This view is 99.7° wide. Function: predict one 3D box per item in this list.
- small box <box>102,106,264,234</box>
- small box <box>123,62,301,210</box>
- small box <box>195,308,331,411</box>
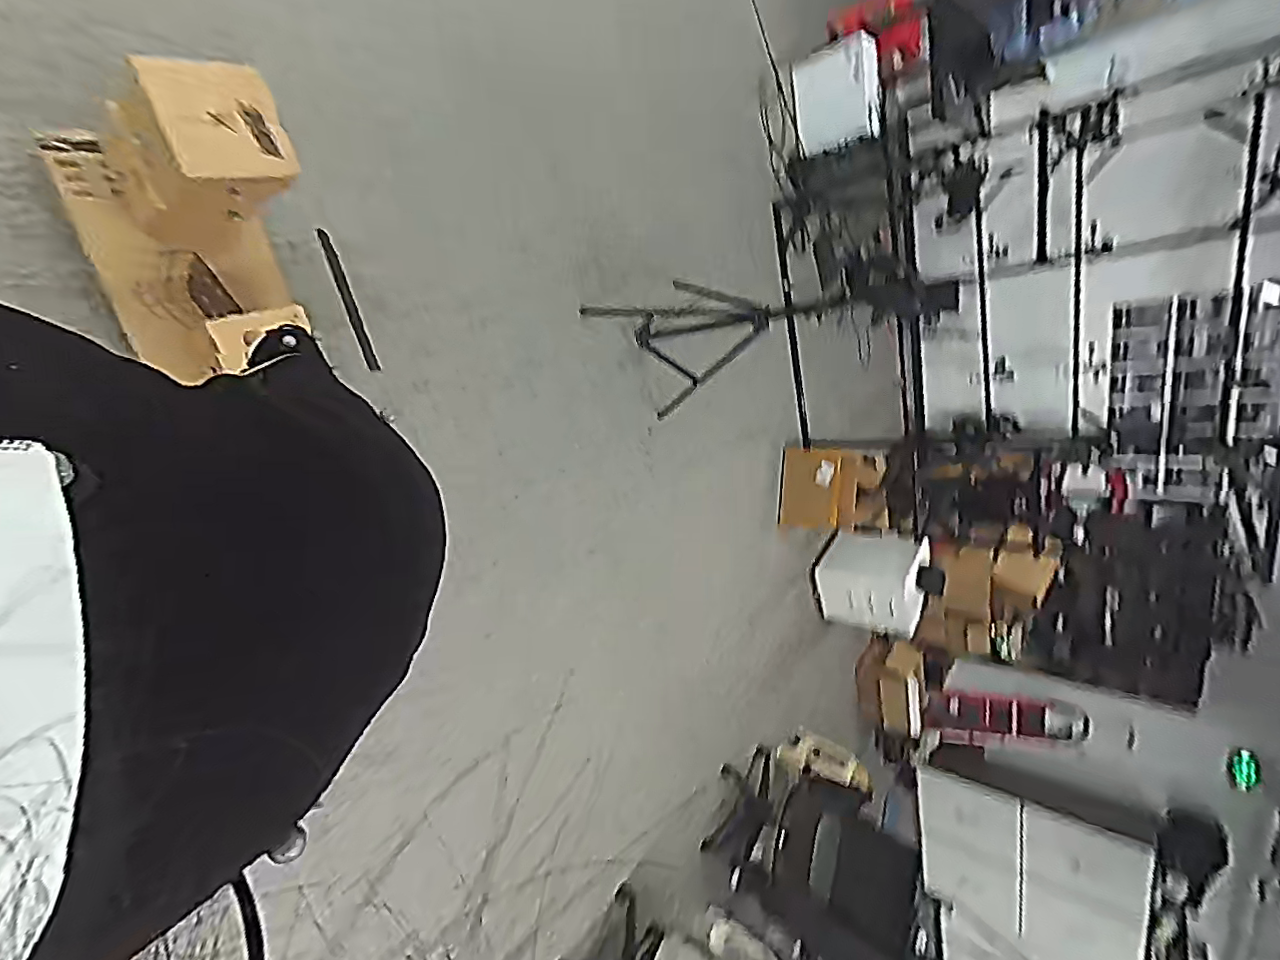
[{"bbox_3d":[-0.862,-0.574,1.023,0.179,0.176,0.168,-30,115,-44],"label":"small box"},{"bbox_3d":[-0.729,-0.574,0.926,0.179,0.176,0.168,-32,116,-43],"label":"small box"},{"bbox_3d":[-0.791,-0.248,1.130,0.179,0.176,0.168,-31,114,-42],"label":"small box"}]
